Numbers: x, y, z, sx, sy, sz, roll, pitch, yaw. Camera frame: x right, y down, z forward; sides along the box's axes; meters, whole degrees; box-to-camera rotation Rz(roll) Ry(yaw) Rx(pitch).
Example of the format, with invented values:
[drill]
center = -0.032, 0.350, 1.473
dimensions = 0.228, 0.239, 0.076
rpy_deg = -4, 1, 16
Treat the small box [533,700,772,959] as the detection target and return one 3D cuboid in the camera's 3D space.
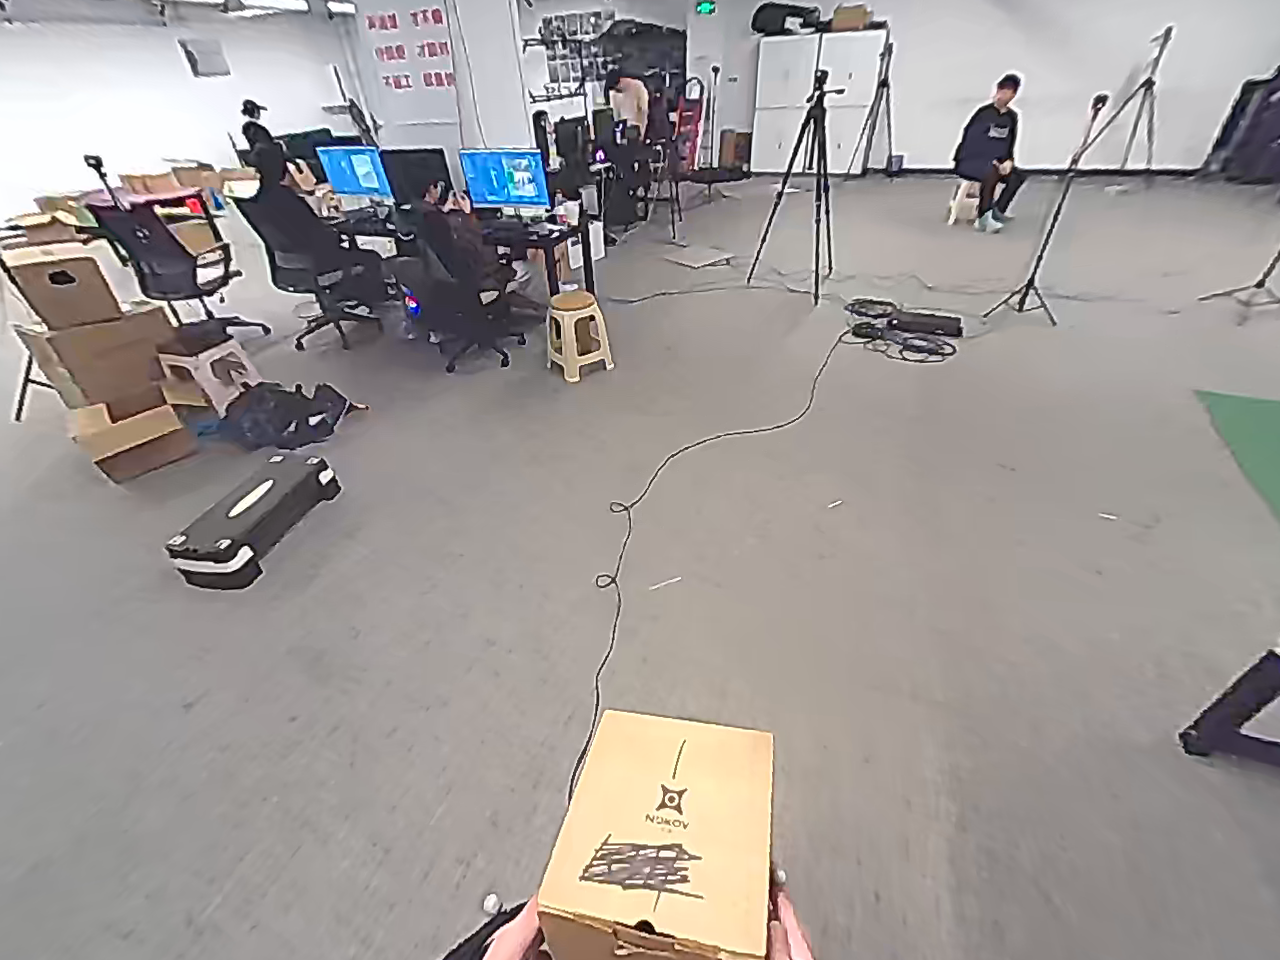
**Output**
[small box]
center = 0.028, 0.332, 0.478
dimensions = 0.168, 0.176, 0.179
rpy_deg = 2, 28, 15
